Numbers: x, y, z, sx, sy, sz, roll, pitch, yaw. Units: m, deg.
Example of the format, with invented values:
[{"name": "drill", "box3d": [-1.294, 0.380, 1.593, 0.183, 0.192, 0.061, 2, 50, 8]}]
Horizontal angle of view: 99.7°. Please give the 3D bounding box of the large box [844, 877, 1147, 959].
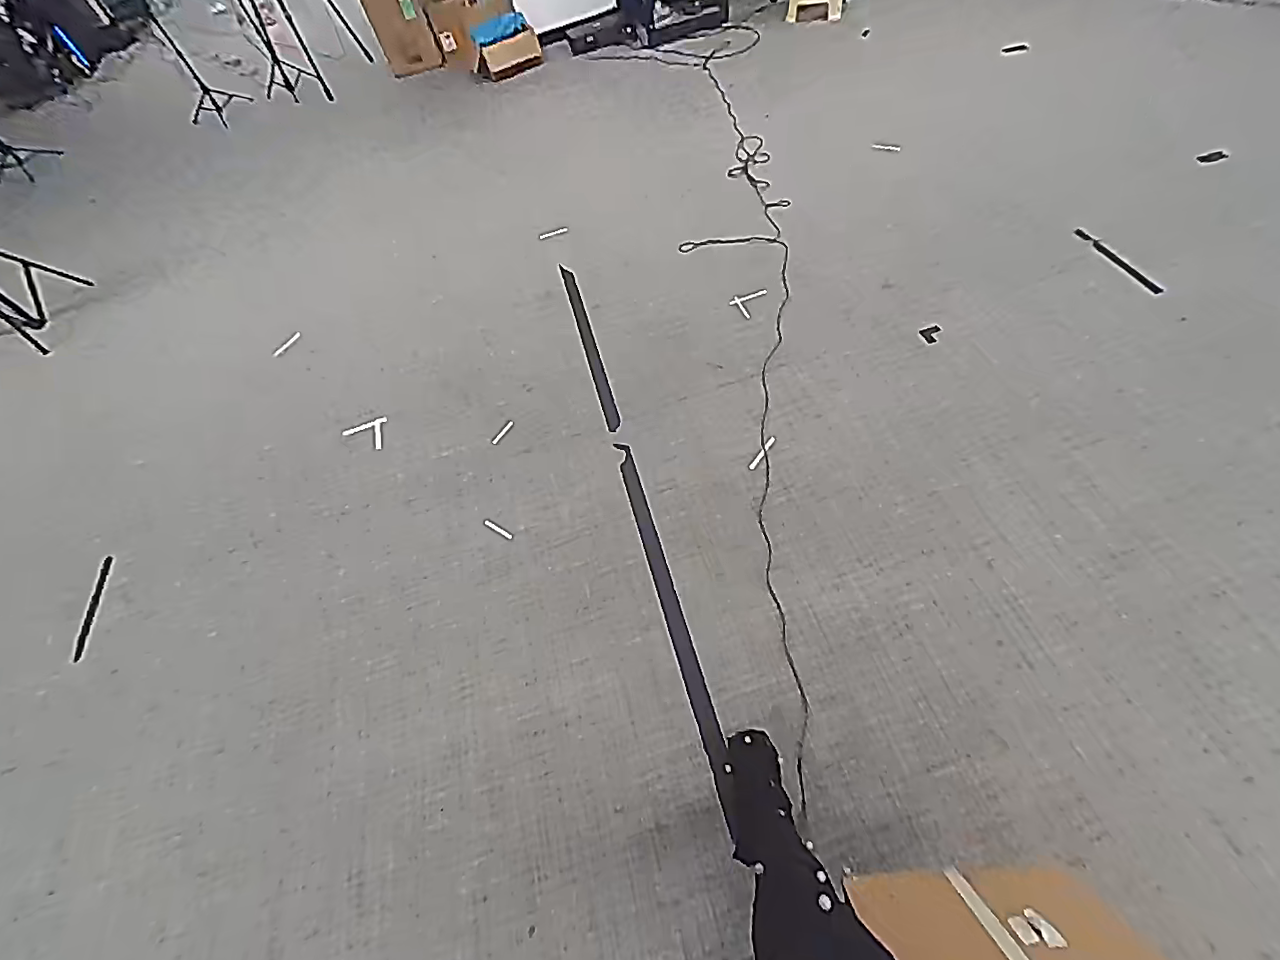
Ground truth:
[{"name": "large box", "box3d": [0.458, 0.722, 0.589, 0.320, 0.408, 0.320, -6, 81, 5]}]
